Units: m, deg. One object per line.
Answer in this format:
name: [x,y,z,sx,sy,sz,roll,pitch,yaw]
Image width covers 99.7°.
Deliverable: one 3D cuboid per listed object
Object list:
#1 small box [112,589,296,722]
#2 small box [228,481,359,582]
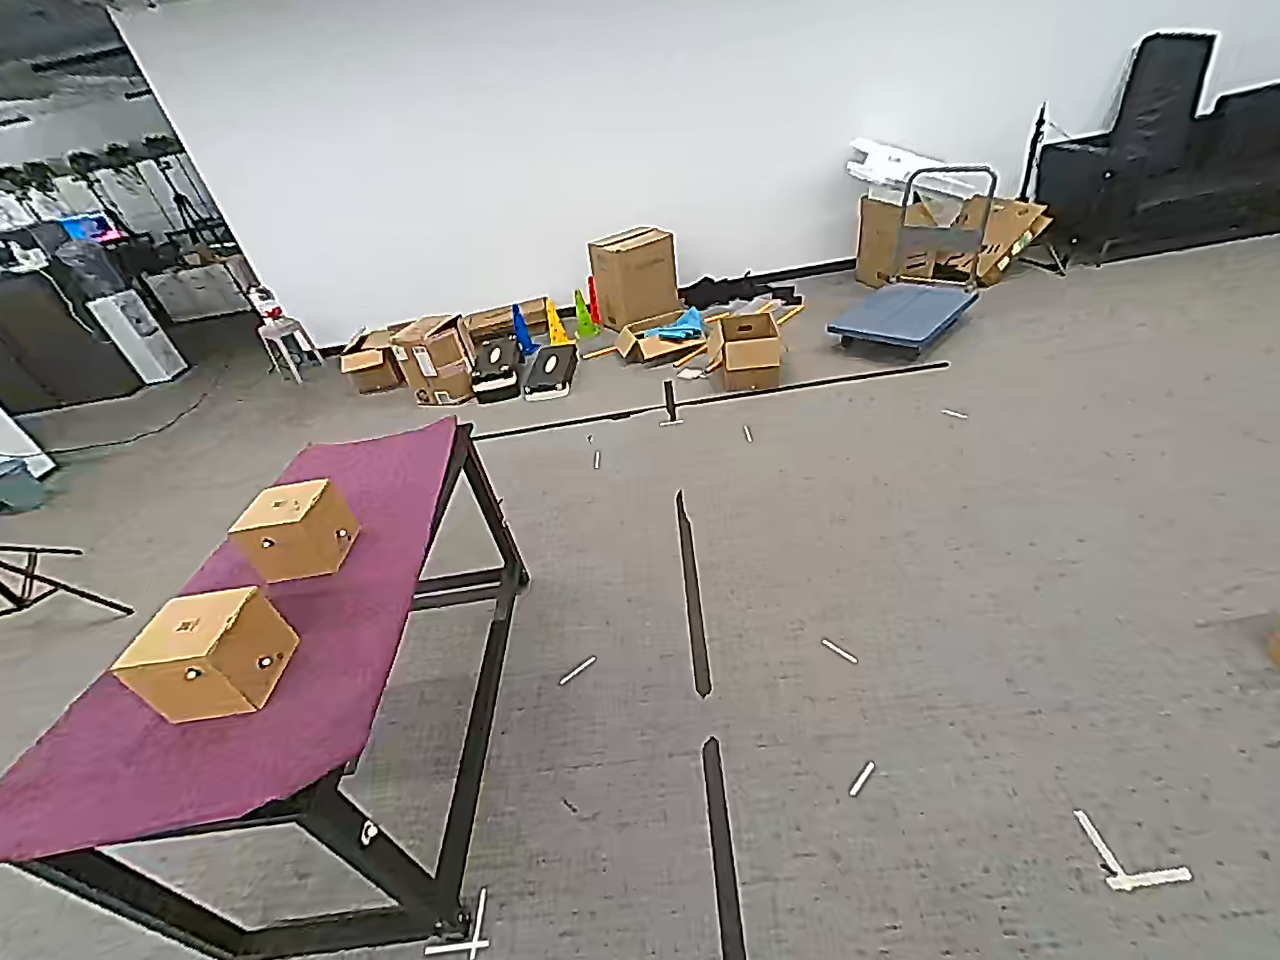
small box: [-0.806,0.334,1.024,0.179,0.176,0.168,-9,35,1]
small box: [-0.827,0.128,1.311,0.179,0.176,0.168,-9,36,3]
